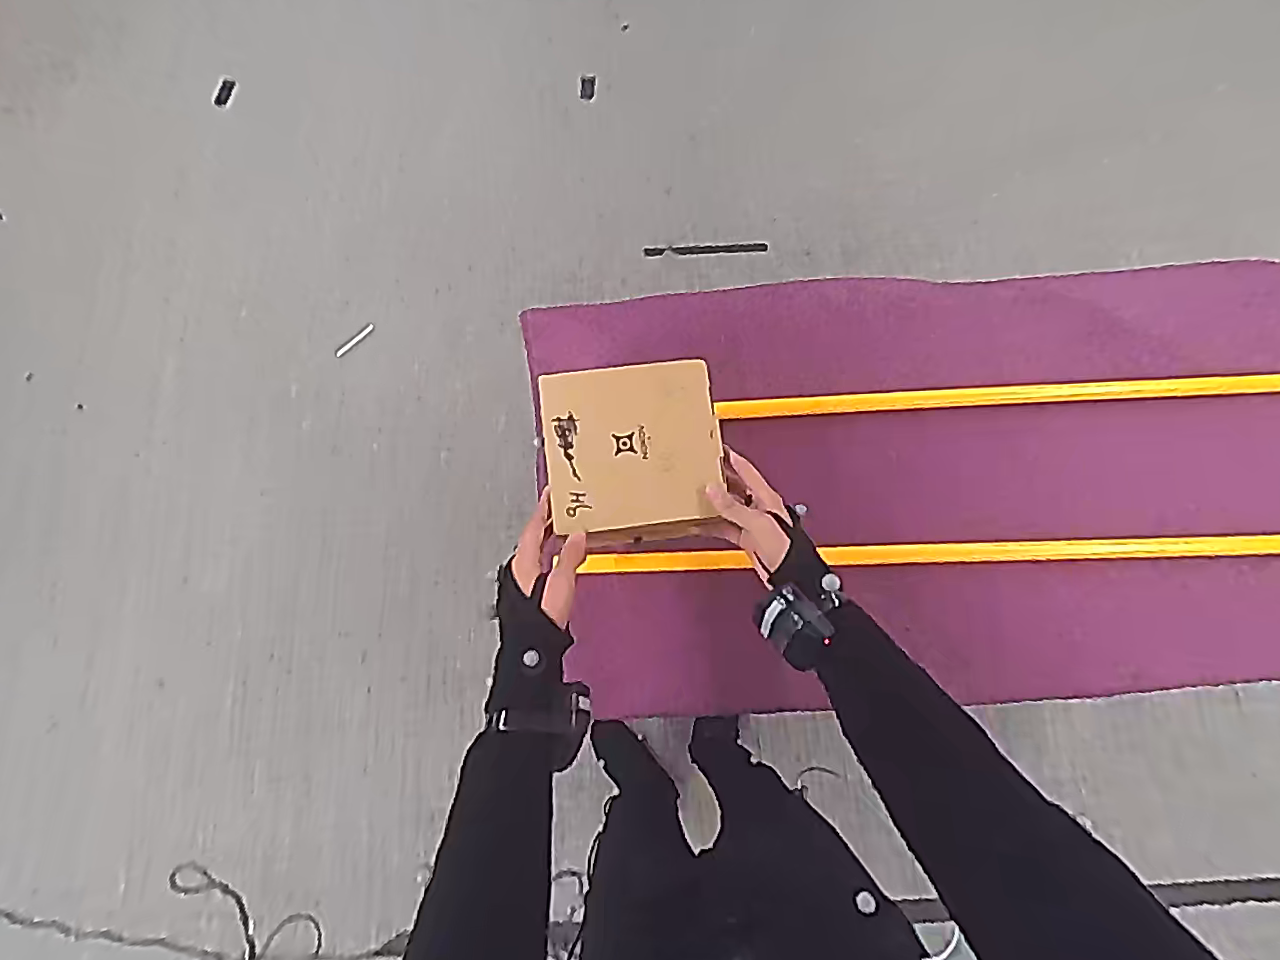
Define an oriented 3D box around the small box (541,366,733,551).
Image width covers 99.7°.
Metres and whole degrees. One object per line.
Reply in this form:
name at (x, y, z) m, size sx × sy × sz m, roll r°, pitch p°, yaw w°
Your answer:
small box at (-0.010, -0.014, 0.605) m, size 0.179 × 0.176 × 0.168 m, roll -6°, pitch 79°, yaw -5°
